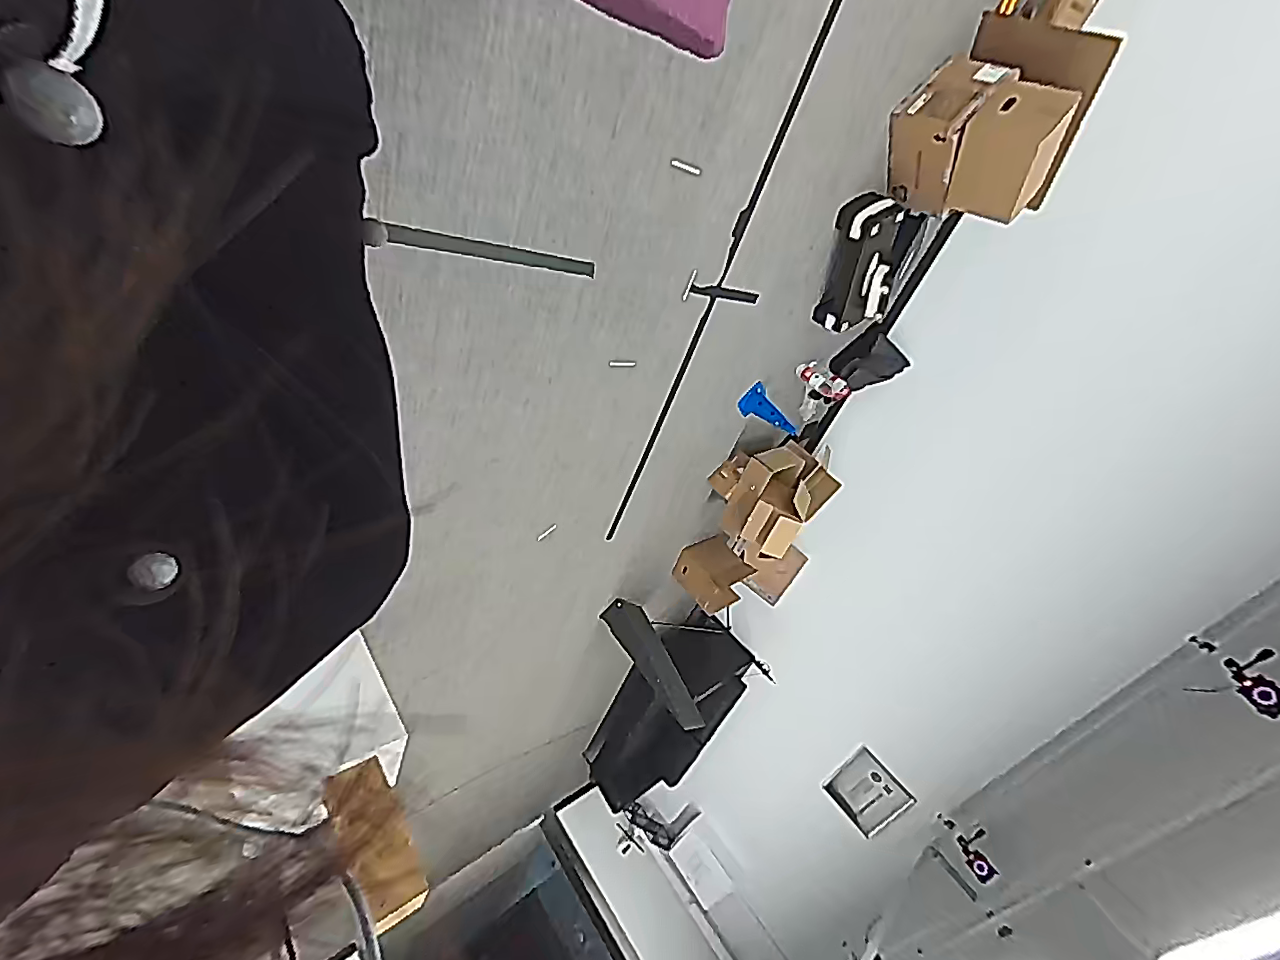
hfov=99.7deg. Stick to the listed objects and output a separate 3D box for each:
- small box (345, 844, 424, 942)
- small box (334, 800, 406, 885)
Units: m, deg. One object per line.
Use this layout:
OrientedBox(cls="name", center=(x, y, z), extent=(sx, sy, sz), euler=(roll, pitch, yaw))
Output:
OrientedBox(cls="small box", center=(-0.848, 1.359, 1.791), extent=(0.179, 0.176, 0.168), euler=(-9, 136, -46))
OrientedBox(cls="small box", center=(-0.942, 1.259, 1.879), extent=(0.168, 0.176, 0.179), euler=(-9, 135, -47))
